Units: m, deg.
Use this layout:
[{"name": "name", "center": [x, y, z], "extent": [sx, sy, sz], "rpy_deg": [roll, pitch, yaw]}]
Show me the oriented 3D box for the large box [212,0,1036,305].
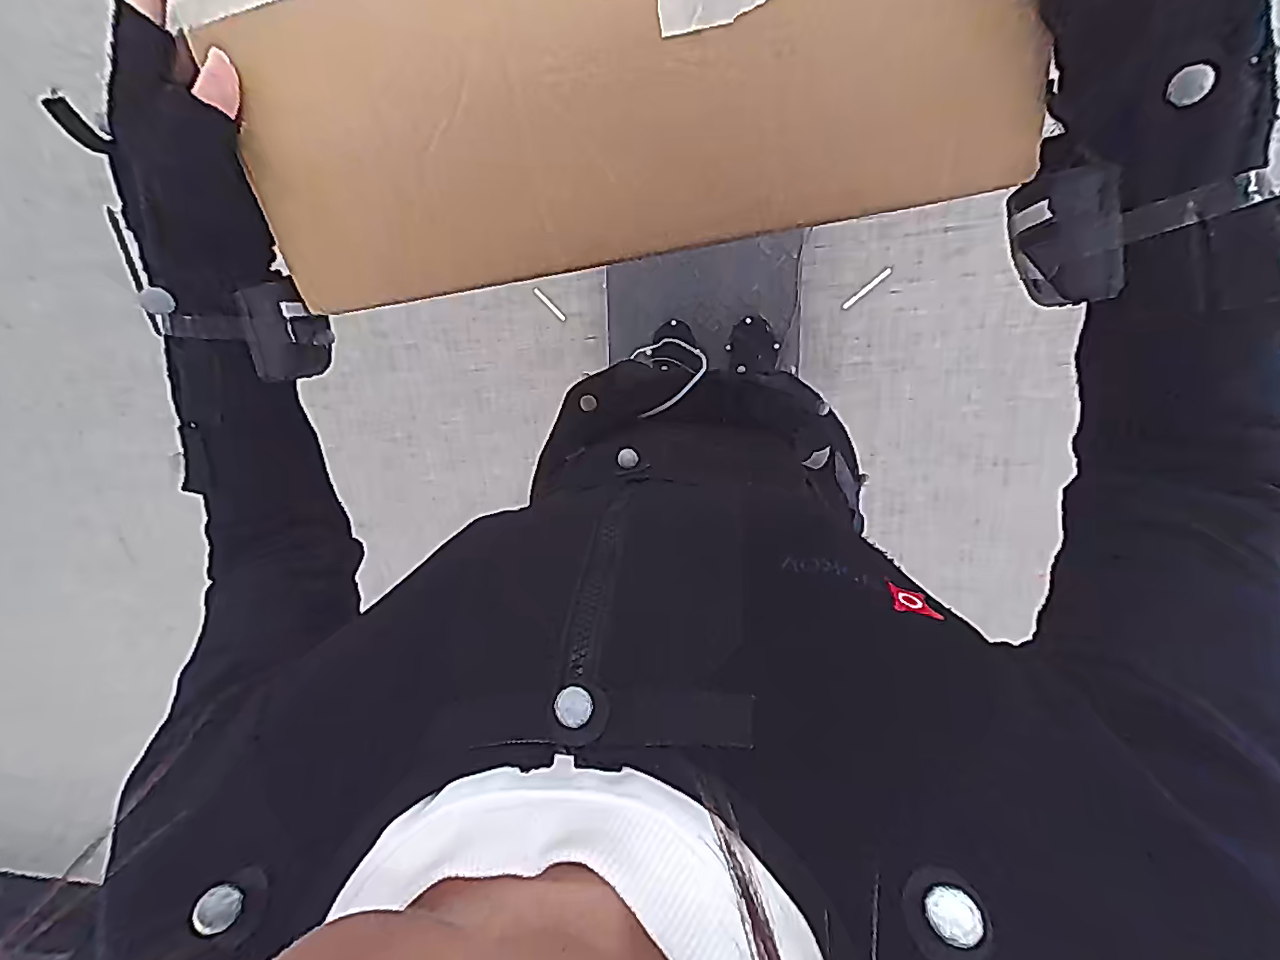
[{"name": "large box", "center": [-0.013, -0.336, 0.376], "extent": [0.408, 0.320, 0.320], "rpy_deg": [-6, 116, 12]}]
